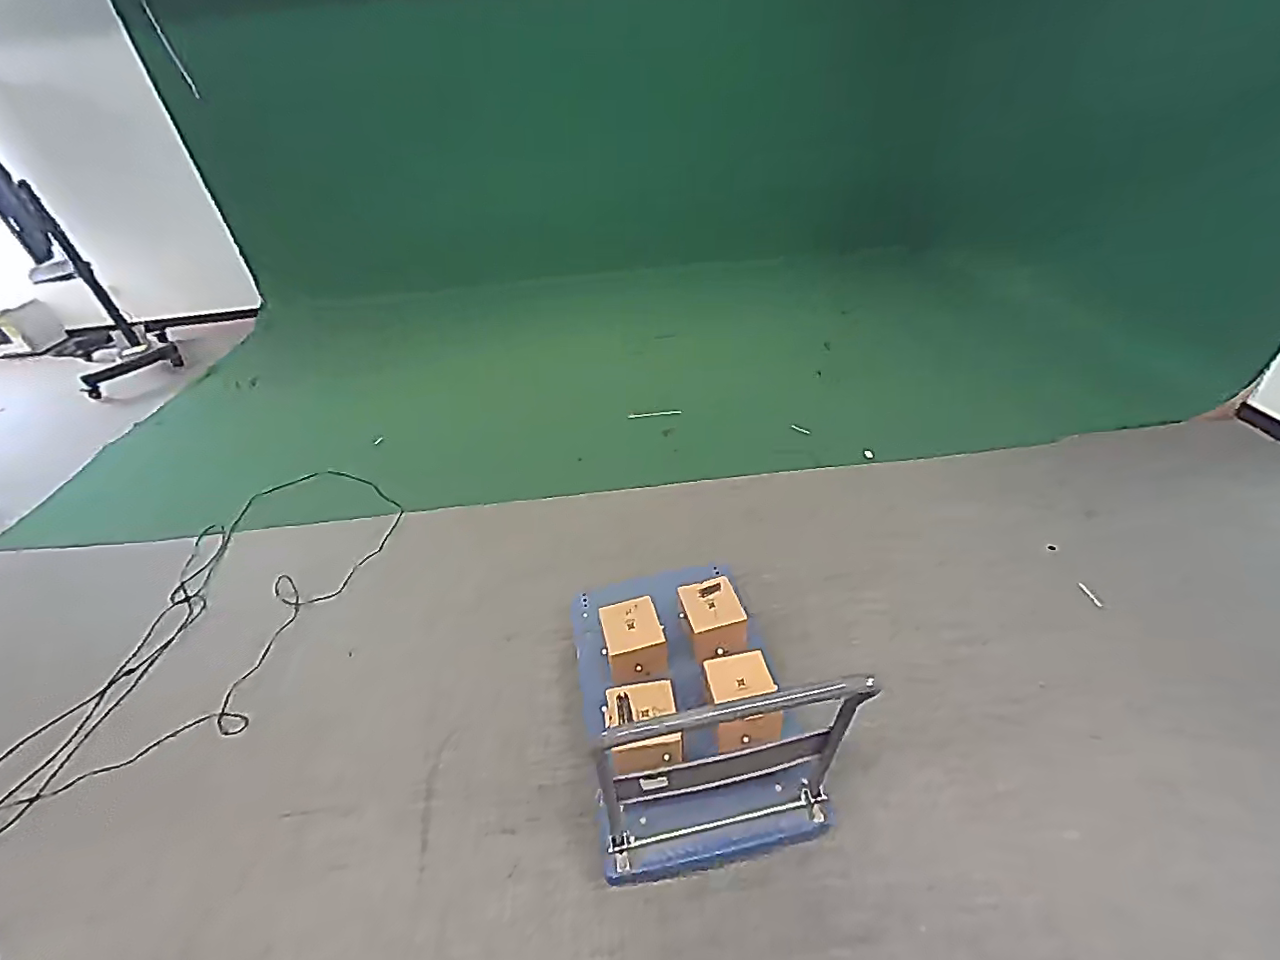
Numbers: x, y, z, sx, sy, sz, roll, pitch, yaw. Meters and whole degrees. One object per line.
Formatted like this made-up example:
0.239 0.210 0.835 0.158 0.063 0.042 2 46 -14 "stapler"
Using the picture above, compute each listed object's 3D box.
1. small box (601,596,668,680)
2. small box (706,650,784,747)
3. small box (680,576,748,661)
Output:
-0.015 0.491 1.659 0.168 0.176 0.179 -12 39 -9 "small box"
0.279 0.601 1.488 0.168 0.176 0.179 -10 39 -5 "small box"
0.228 0.435 1.696 0.168 0.176 0.179 -13 40 -8 "small box"
